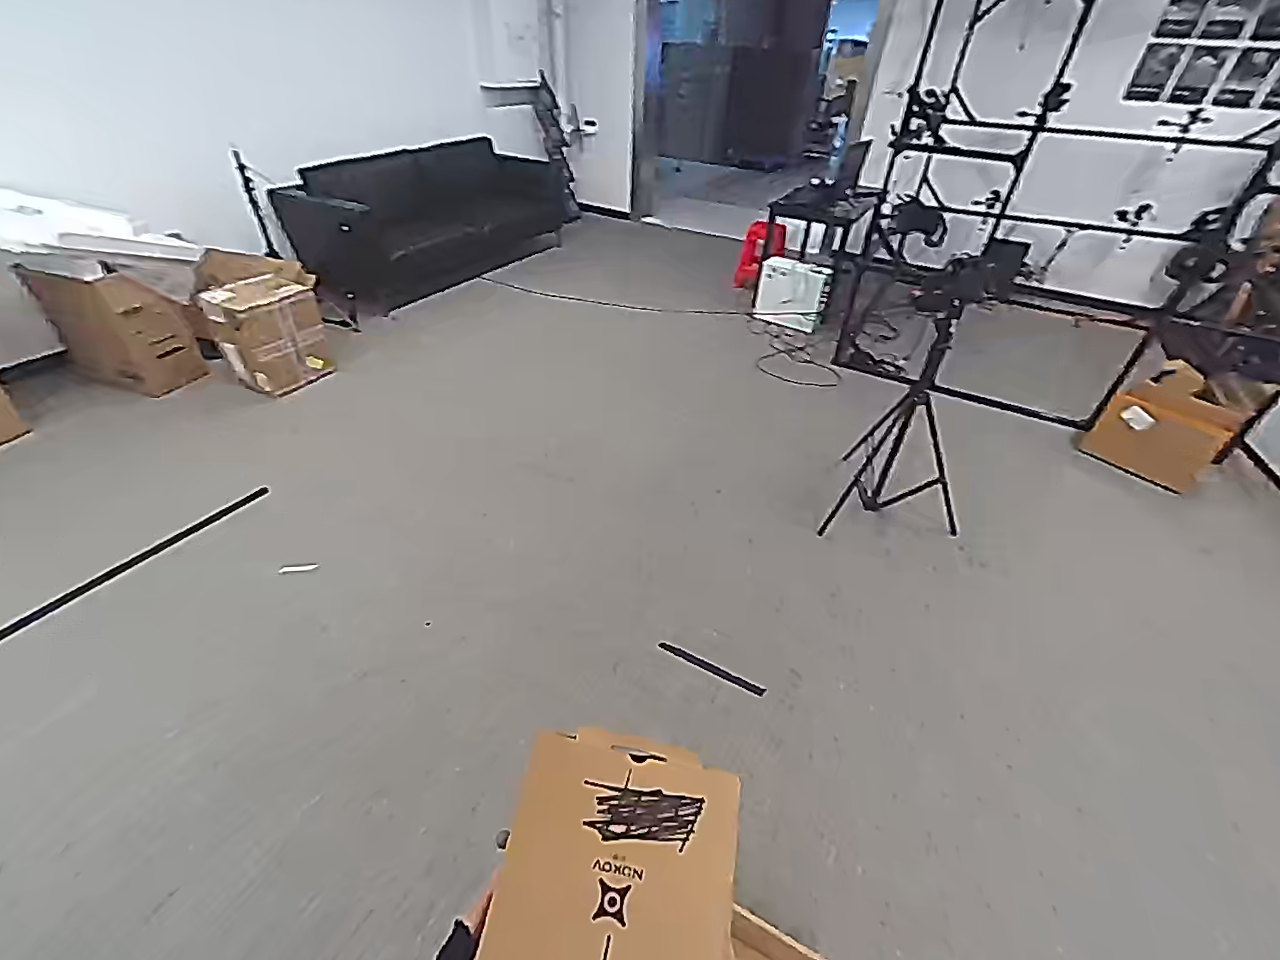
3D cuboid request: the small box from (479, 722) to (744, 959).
[{"bbox_3d":[-0.021,0.323,0.440,0.168,0.176,0.179,12,54,1],"label":"small box"}]
